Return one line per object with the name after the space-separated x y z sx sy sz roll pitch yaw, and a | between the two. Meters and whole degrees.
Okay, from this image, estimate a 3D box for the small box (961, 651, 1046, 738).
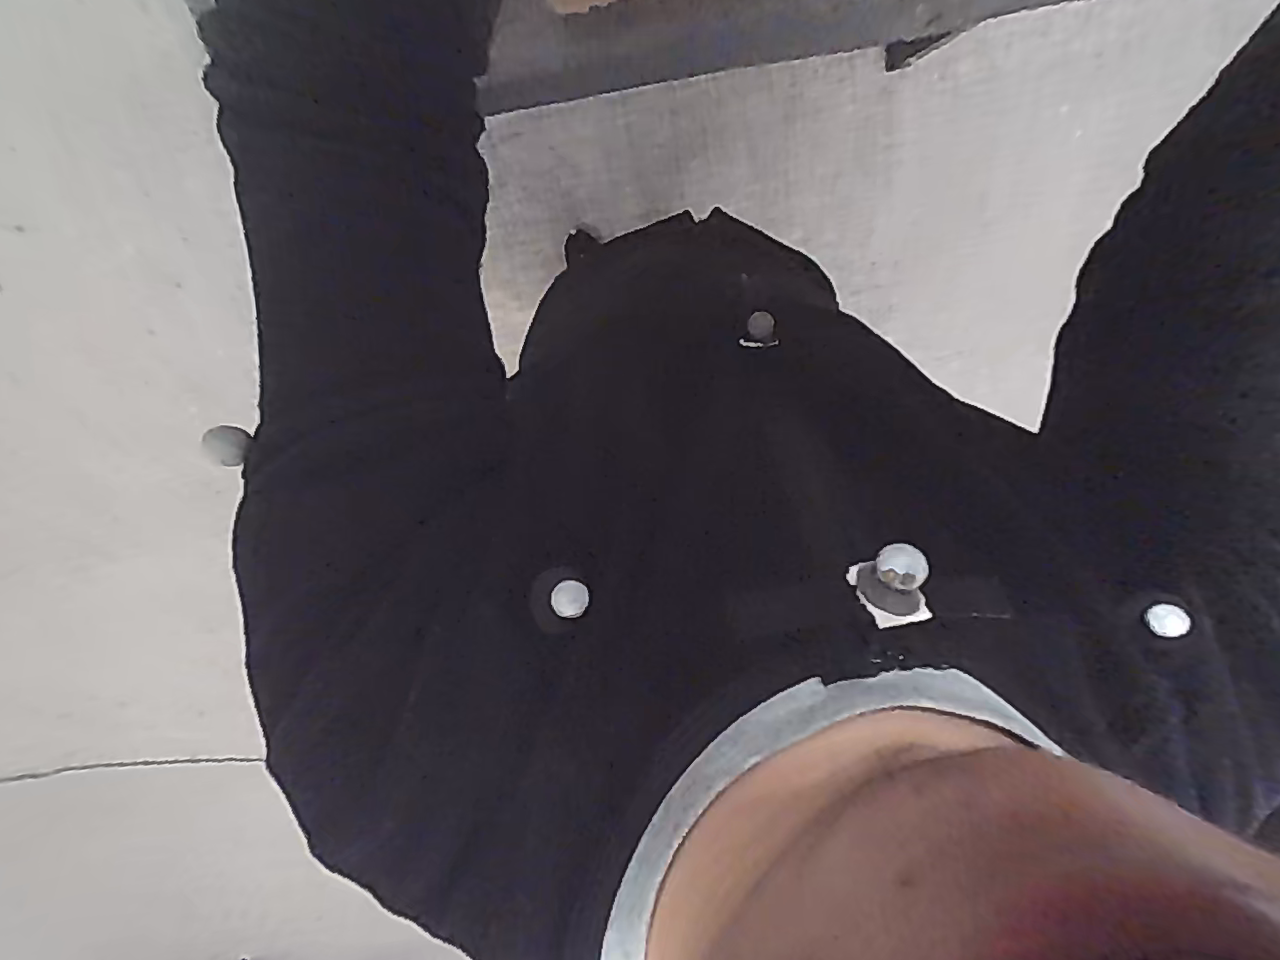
1.181 0.696 1.767 0.168 0.176 0.179 -18 112 -1 | small box
